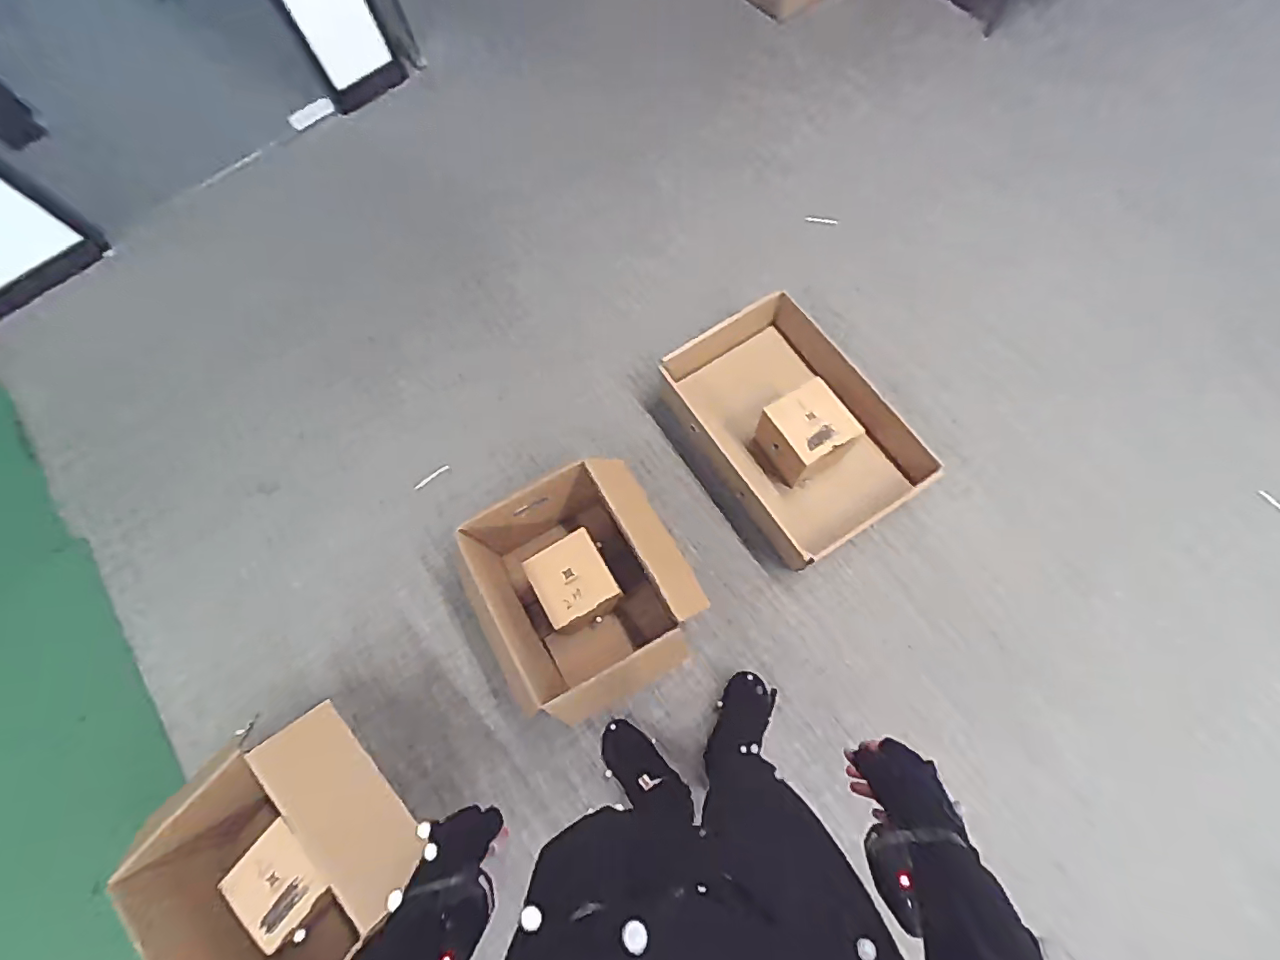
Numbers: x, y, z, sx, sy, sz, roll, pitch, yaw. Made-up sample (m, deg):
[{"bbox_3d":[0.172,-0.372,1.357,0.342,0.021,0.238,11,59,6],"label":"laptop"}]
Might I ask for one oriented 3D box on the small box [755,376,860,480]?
[{"bbox_3d":[0.404,-0.117,1.335,0.168,0.176,0.179,-30,70,-6],"label":"small box"}]
